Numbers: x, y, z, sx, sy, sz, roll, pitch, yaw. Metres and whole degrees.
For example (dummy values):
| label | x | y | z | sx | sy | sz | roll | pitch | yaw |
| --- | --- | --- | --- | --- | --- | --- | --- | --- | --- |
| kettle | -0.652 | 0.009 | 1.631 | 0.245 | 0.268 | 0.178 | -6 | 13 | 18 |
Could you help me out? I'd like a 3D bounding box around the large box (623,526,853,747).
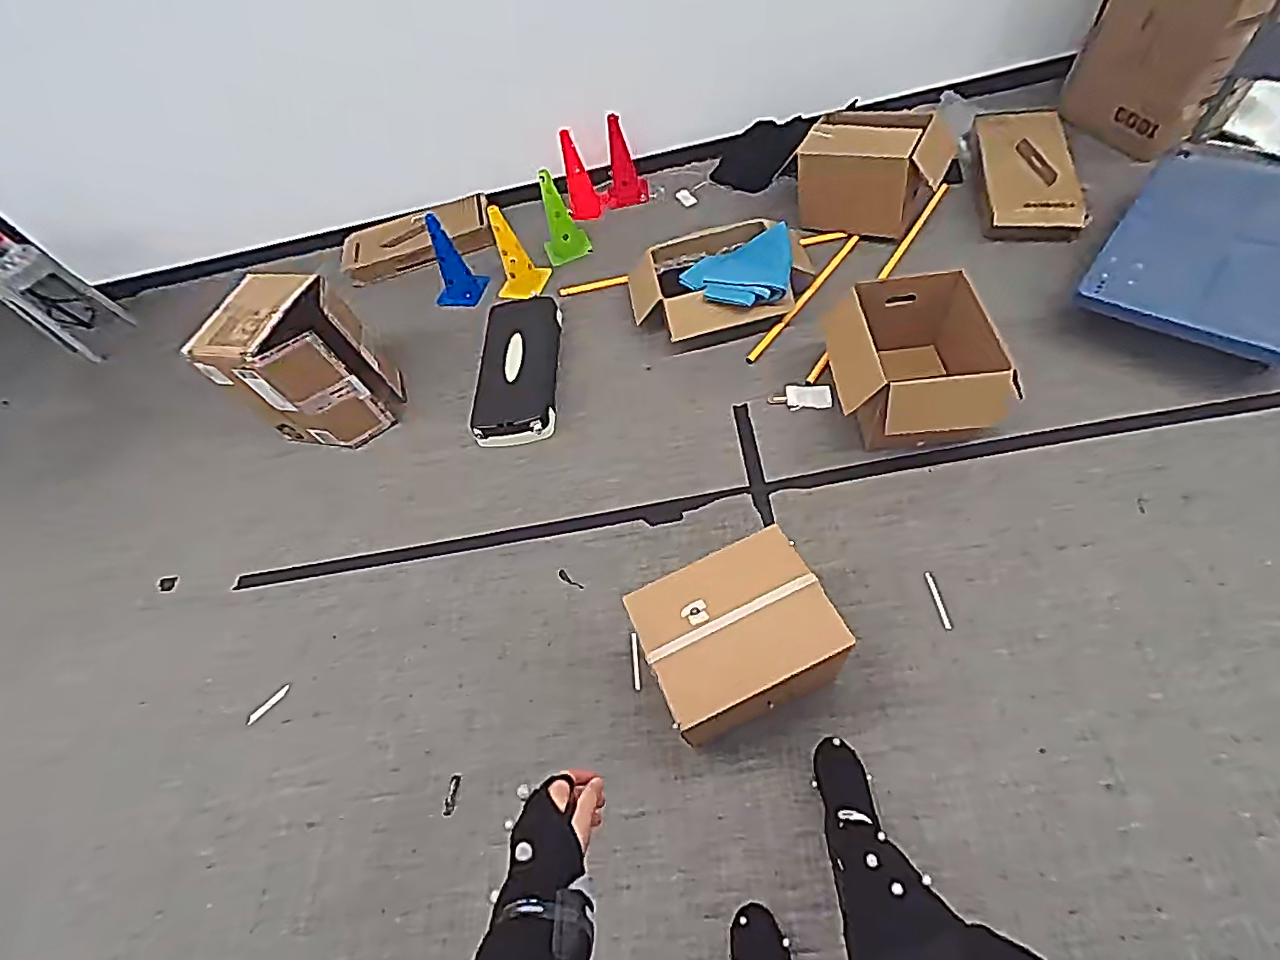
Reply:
| label | x | y | z | sx | sy | sz | roll | pitch | yaw |
| --- | --- | --- | --- | --- | --- | --- | --- | --- | --- |
| large box | 0.225 | 0.378 | 1.281 | 0.408 | 0.320 | 0.320 | -26 | 56 | -4 |
